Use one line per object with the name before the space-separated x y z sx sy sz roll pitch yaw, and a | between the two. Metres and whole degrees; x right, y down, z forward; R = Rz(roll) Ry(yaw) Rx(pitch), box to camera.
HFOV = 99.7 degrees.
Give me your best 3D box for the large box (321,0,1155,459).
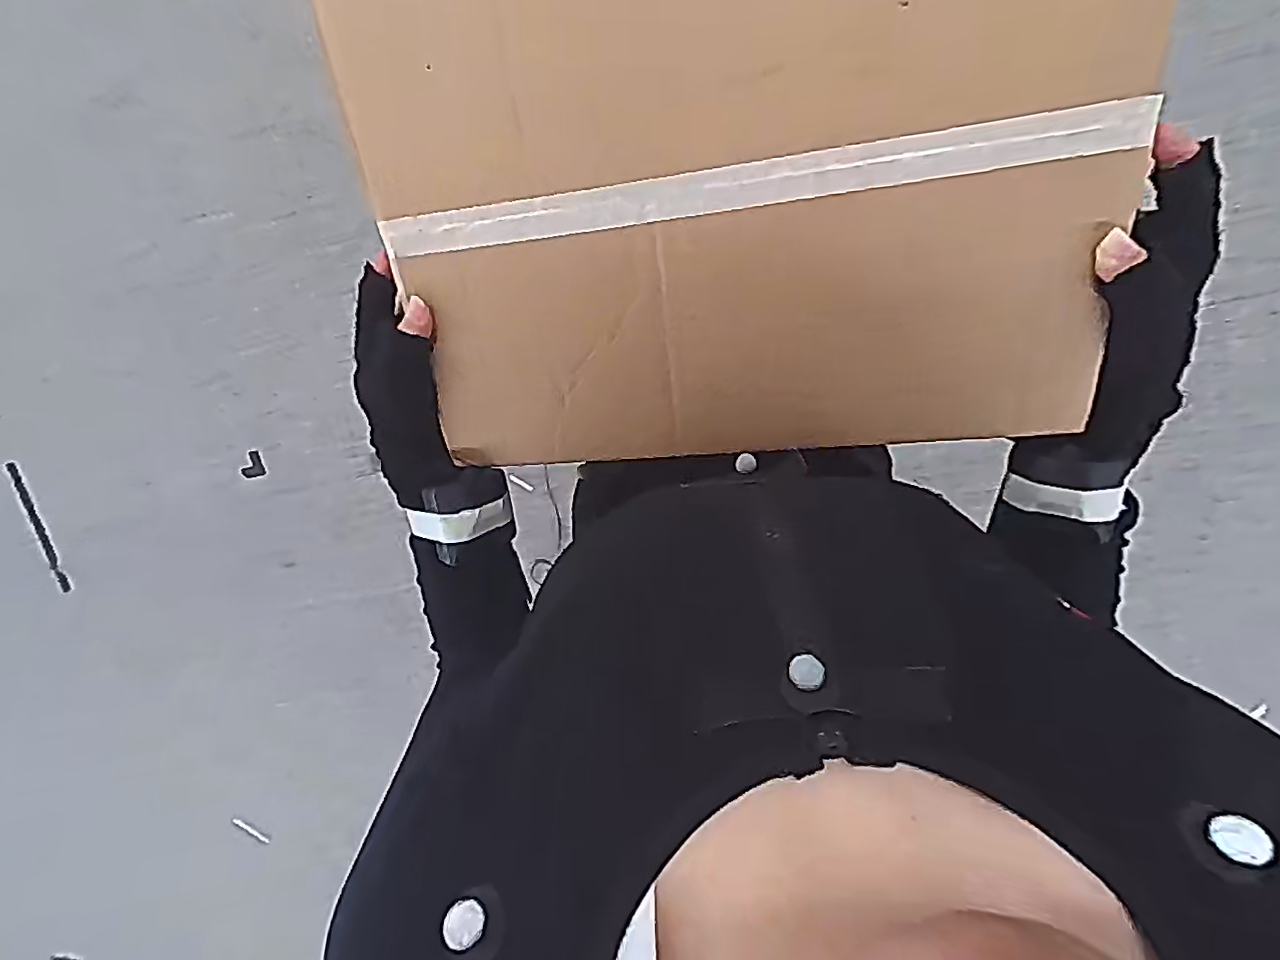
large box | 0.064 -0.232 0.429 0.408 0.320 0.320 -3 116 11
